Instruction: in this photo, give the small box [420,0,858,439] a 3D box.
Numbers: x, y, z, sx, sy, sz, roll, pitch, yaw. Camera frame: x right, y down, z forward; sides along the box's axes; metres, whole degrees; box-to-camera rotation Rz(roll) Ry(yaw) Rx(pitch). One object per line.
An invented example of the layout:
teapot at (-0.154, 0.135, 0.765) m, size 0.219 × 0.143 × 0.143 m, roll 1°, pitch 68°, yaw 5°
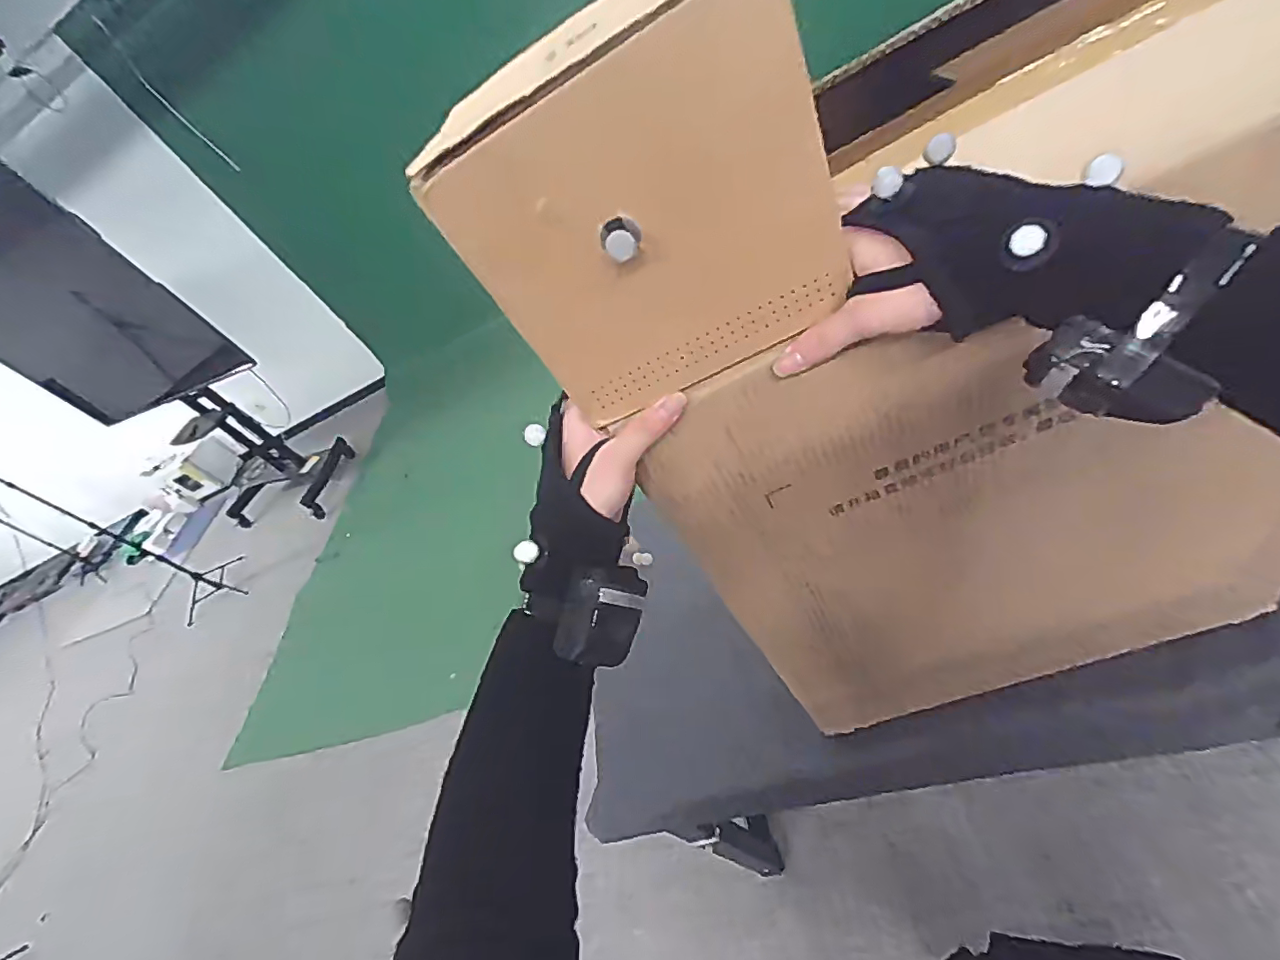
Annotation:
small box at (0.005, -0.155, 0.328) m, size 0.179 × 0.176 × 0.168 m, roll -25°, pitch 43°, yaw 14°
